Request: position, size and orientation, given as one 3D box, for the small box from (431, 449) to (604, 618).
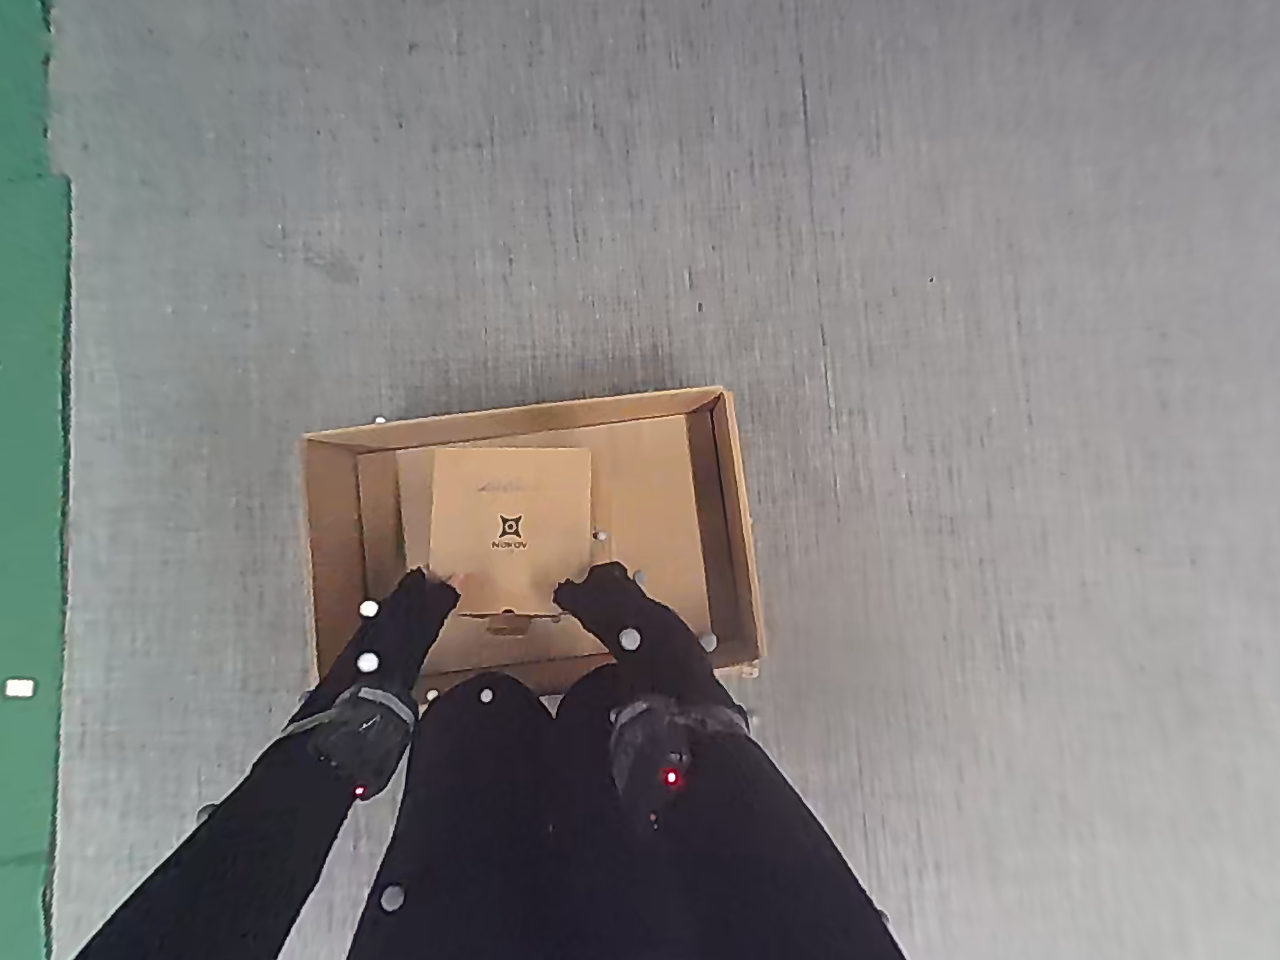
[{"bbox_3d":[-0.131,0.065,0.641,0.168,0.176,0.179,-1,81,1],"label":"small box"}]
